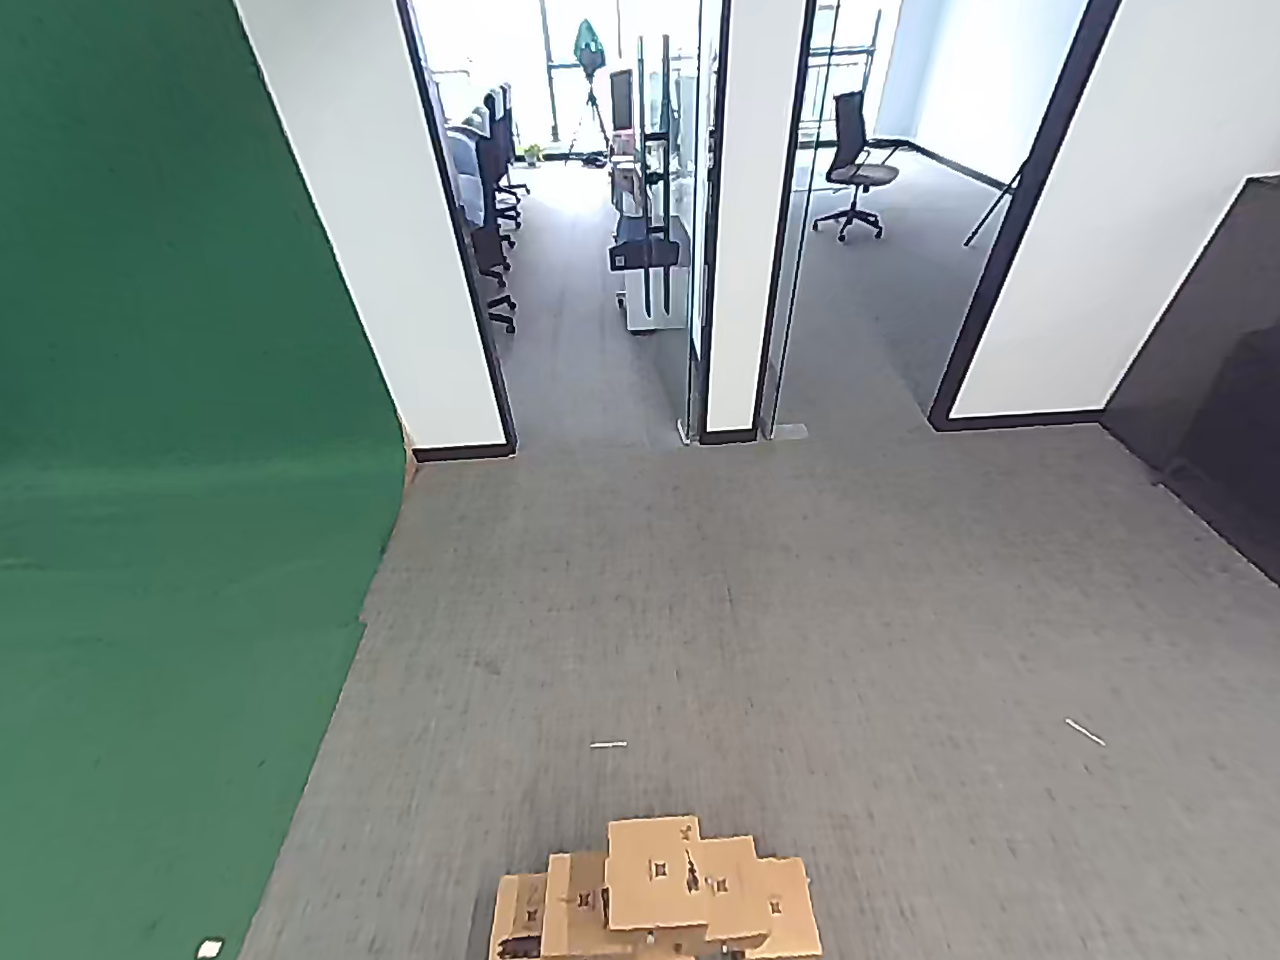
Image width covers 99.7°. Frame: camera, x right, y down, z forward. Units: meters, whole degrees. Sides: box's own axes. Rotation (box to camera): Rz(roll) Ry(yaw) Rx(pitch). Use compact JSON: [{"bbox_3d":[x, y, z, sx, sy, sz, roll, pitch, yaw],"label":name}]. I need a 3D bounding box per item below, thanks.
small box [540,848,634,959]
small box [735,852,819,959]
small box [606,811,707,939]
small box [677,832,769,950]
[{"bbox_3d":[-0.100,0.886,1.126,0.179,0.176,0.168,-2,41,1],"label":"small box"},{"bbox_3d":[0.298,0.987,1.246,0.168,0.176,0.179,-3,41,-1],"label":"small box"},{"bbox_3d":[0.030,0.751,1.027,0.179,0.176,0.168,-3,42,-1],"label":"small box"},{"bbox_3d":[0.158,0.867,1.140,0.179,0.176,0.168,-3,42,-3],"label":"small box"}]
